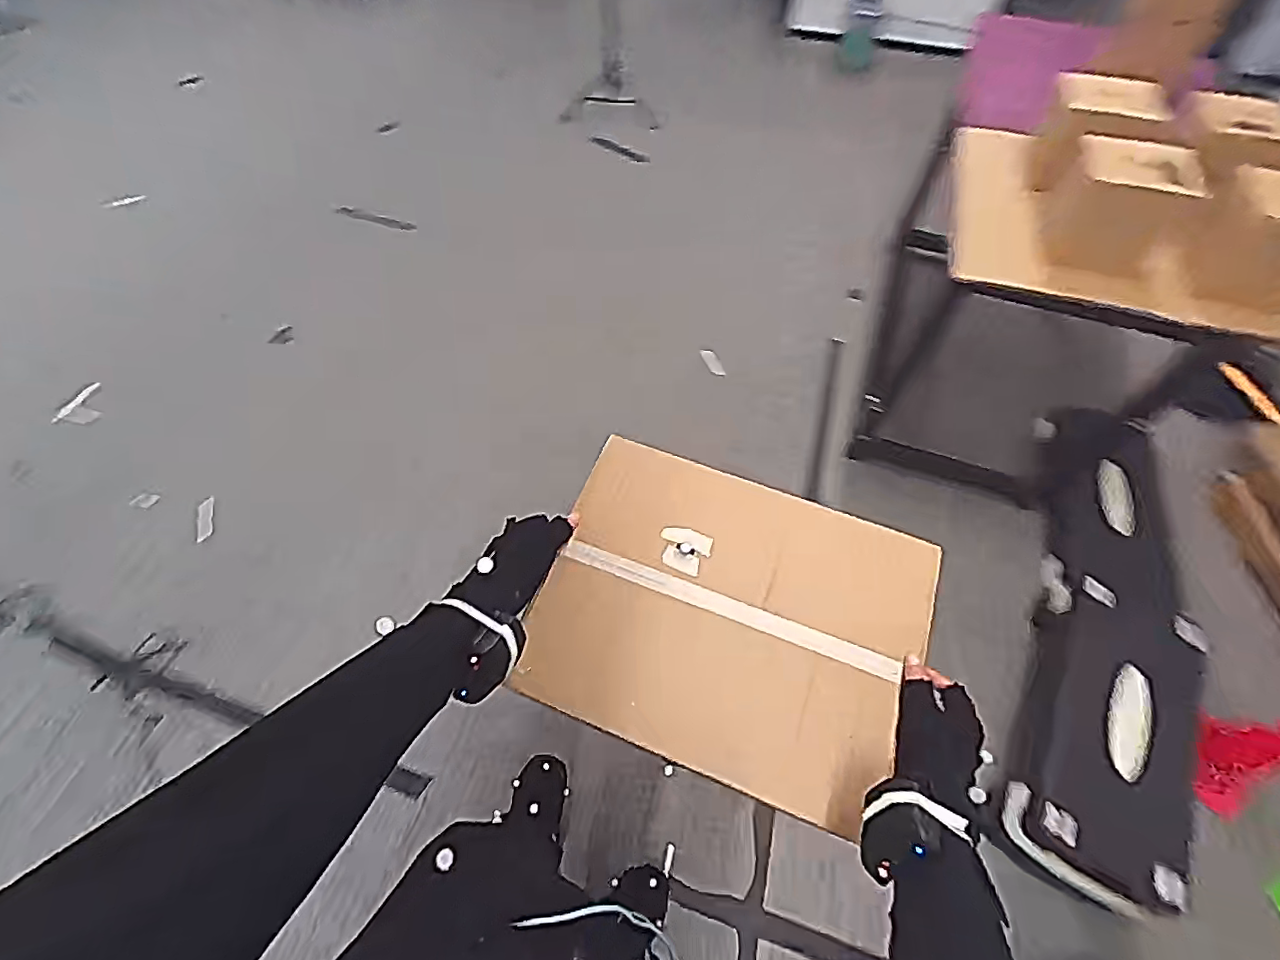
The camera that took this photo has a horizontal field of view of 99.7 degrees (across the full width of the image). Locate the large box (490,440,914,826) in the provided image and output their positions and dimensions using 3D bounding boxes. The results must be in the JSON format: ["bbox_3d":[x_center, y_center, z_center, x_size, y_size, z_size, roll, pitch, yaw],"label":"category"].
[{"bbox_3d":[0.084,0.199,0.724,0.408,0.320,0.320,18,65,10],"label":"large box"}]
